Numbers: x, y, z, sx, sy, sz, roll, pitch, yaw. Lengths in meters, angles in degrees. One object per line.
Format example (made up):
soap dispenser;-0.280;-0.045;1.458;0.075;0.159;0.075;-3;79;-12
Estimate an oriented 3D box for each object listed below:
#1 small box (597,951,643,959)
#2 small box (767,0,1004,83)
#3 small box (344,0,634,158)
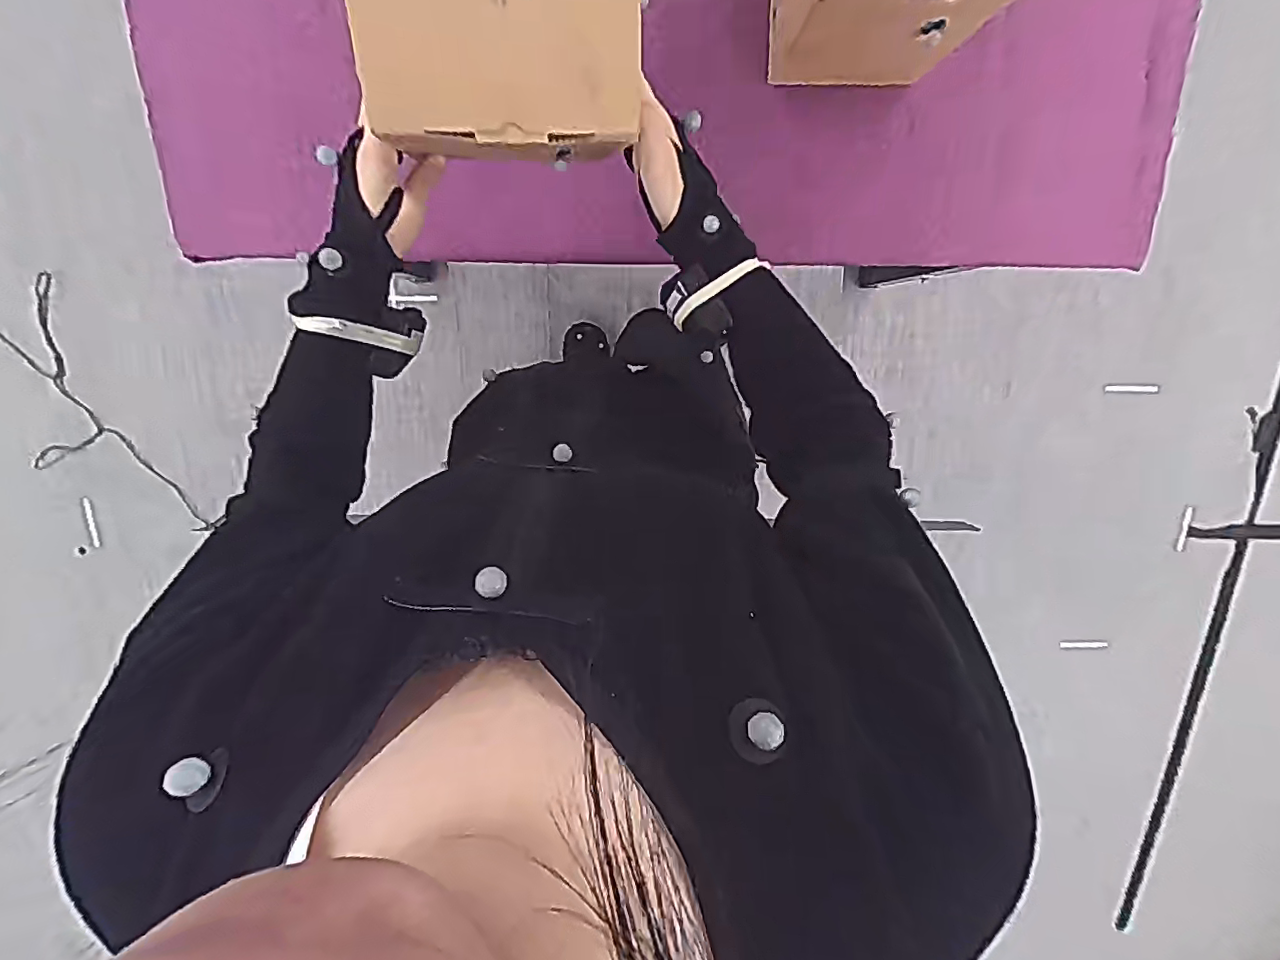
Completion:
small box;-0.068;1.815;1.914;0.168;0.176;0.179;-2;105;-2
small box;0.238;-0.524;0.535;0.179;0.176;0.168;-1;104;-1
small box;-0.099;-0.327;0.370;0.168;0.176;0.179;-6;117;-11
